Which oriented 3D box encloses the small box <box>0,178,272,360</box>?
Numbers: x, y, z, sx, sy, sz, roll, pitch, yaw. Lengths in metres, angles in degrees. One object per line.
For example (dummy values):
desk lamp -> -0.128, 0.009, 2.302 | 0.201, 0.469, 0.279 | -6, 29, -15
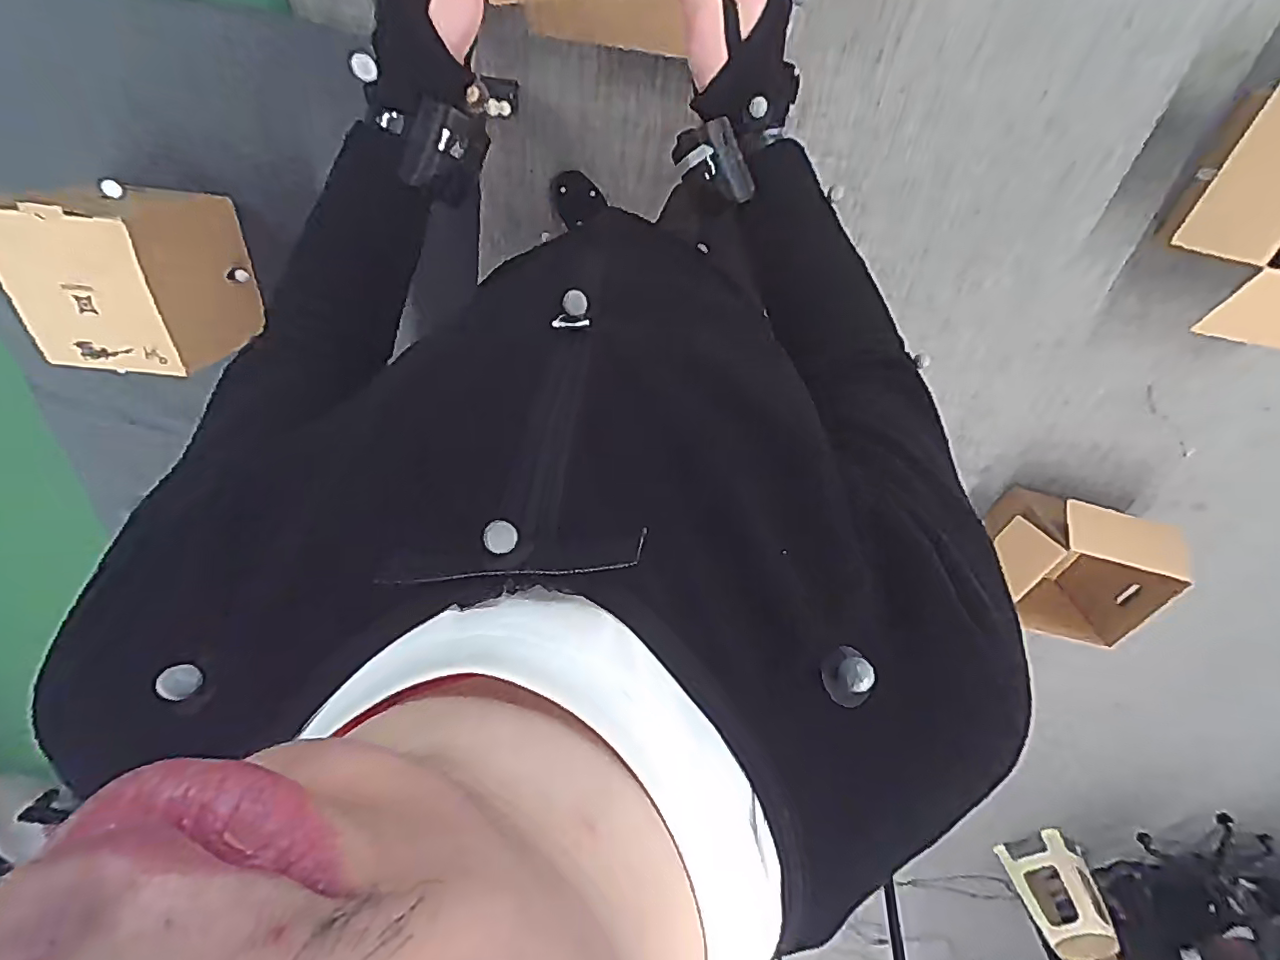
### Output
small box -> -0.606, -0.266, 0.669 | 0.168, 0.176, 0.179 | 3, 125, -1
